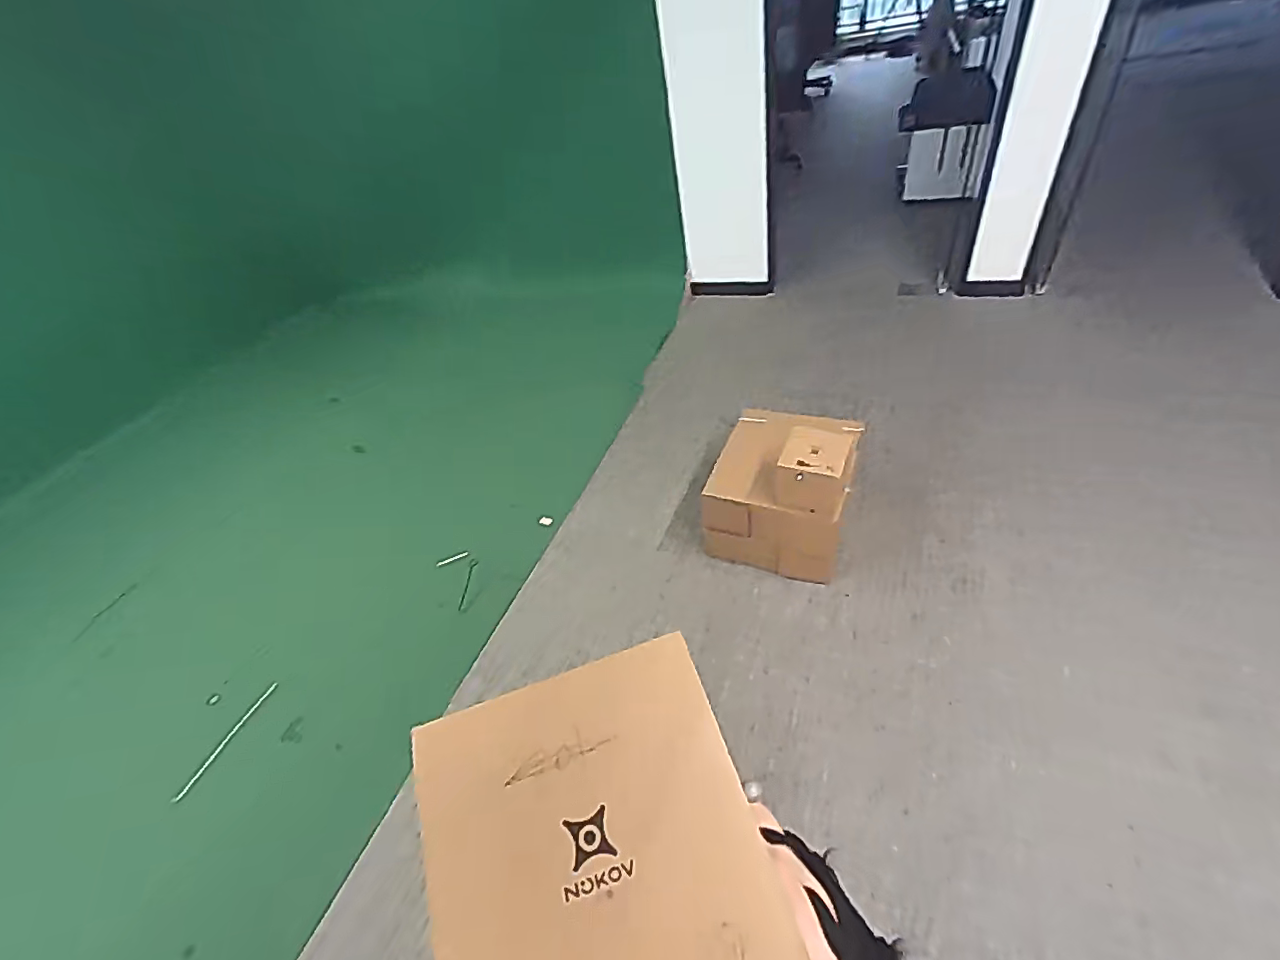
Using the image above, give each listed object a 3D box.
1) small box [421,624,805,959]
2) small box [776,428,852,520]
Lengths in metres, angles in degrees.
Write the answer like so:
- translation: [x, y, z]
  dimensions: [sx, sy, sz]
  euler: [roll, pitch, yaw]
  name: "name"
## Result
- translation: [-0.020, 0.221, 0.347]
  dimensions: [0.168, 0.176, 0.179]
  euler: [-17, 58, -7]
  name: "small box"
- translation: [0.485, -0.019, 1.517]
  dimensions: [0.168, 0.176, 0.179]
  euler: [13, 48, 26]
  name: "small box"
